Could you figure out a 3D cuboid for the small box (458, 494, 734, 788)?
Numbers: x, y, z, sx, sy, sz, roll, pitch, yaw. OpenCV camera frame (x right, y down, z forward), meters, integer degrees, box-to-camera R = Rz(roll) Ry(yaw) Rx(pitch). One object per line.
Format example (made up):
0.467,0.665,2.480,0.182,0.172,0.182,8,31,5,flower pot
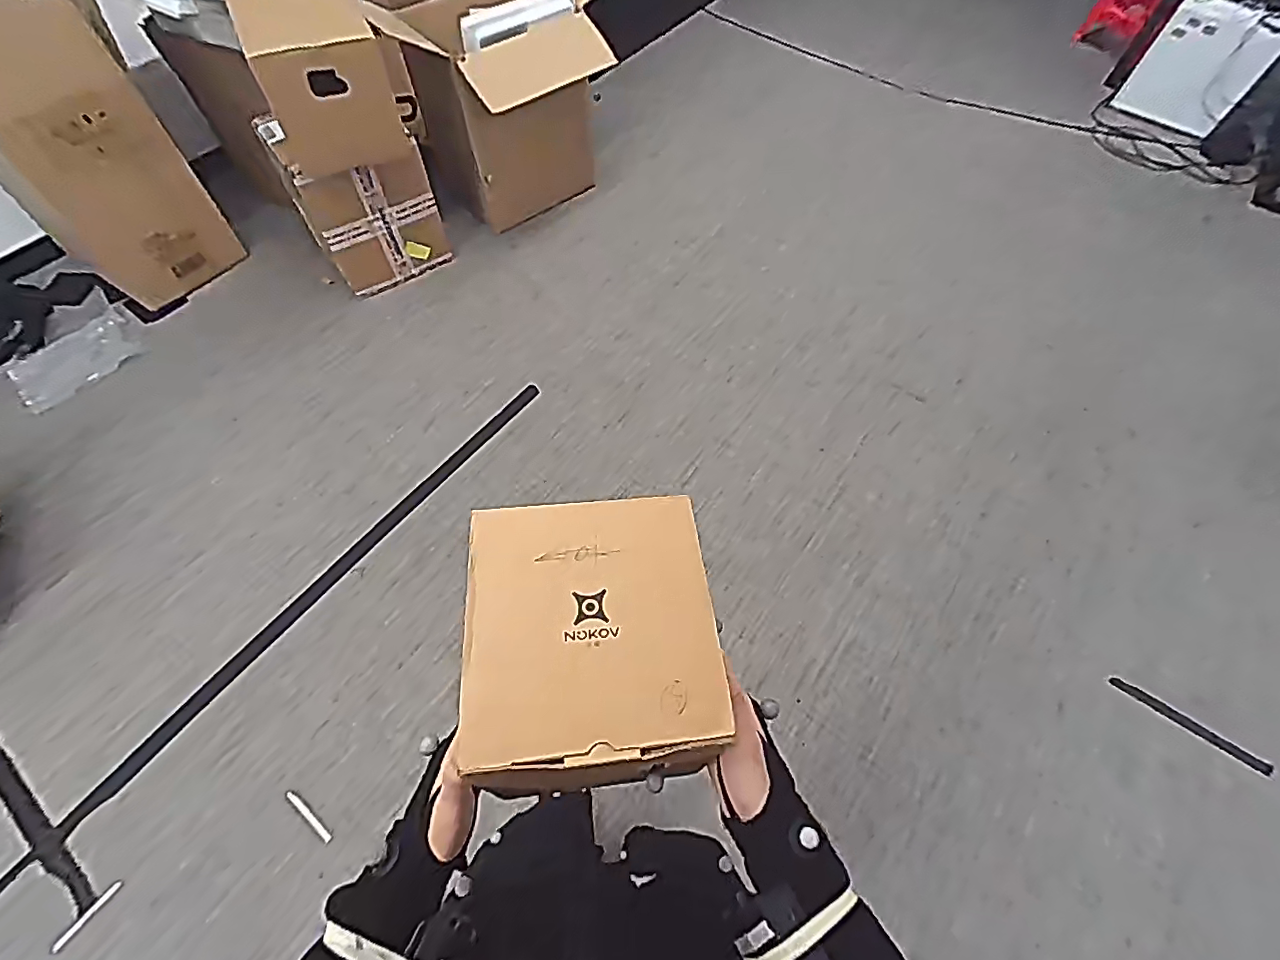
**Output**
-0.037,0.132,0.425,0.168,0.176,0.179,-4,55,-8,small box
